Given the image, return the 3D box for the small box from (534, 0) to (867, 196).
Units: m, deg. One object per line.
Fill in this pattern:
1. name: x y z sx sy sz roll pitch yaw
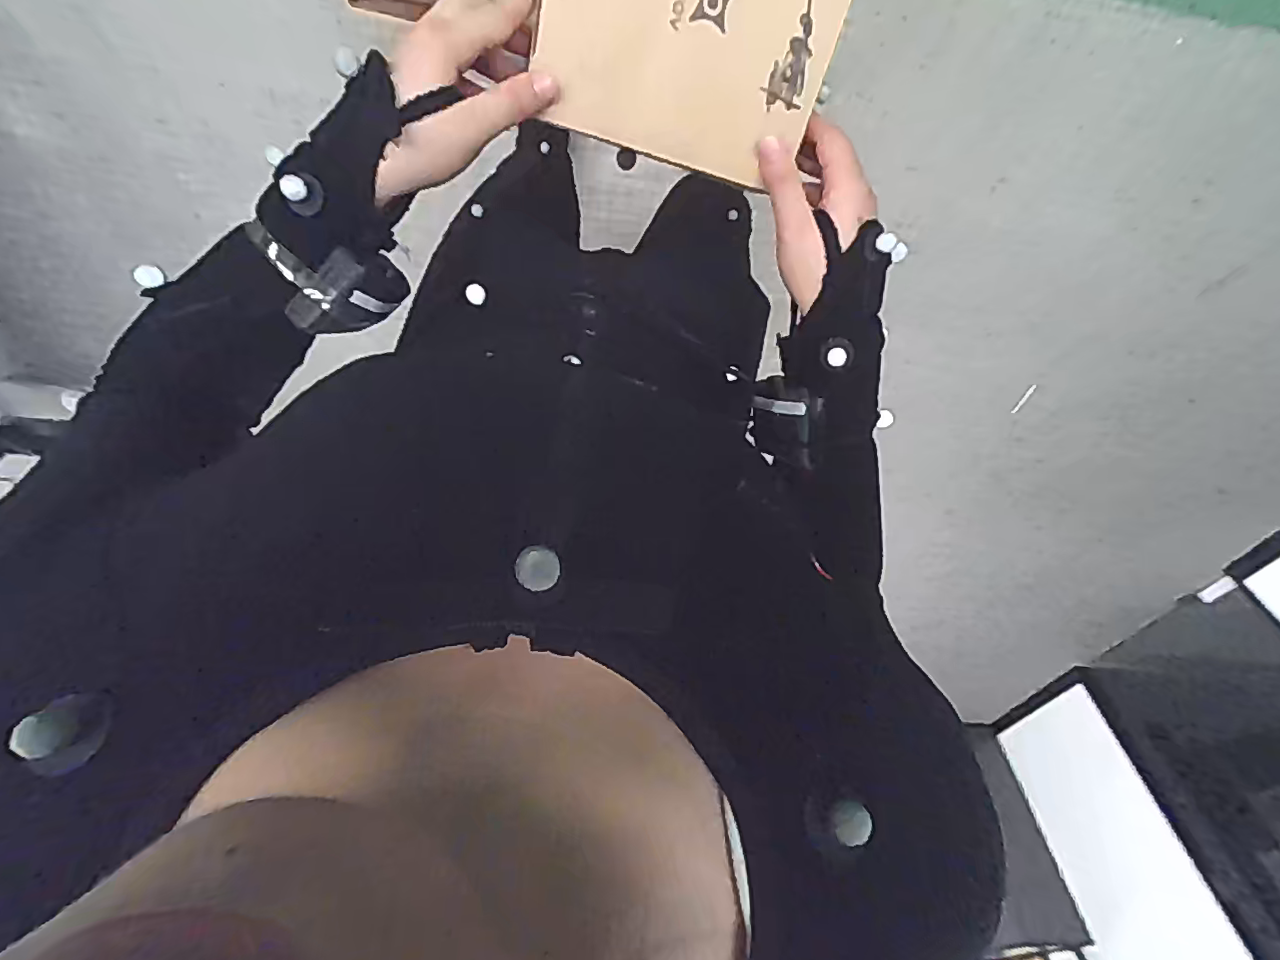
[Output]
1. small box: 0.035 -0.312 0.371 0.179 0.176 0.168 11 120 -11
